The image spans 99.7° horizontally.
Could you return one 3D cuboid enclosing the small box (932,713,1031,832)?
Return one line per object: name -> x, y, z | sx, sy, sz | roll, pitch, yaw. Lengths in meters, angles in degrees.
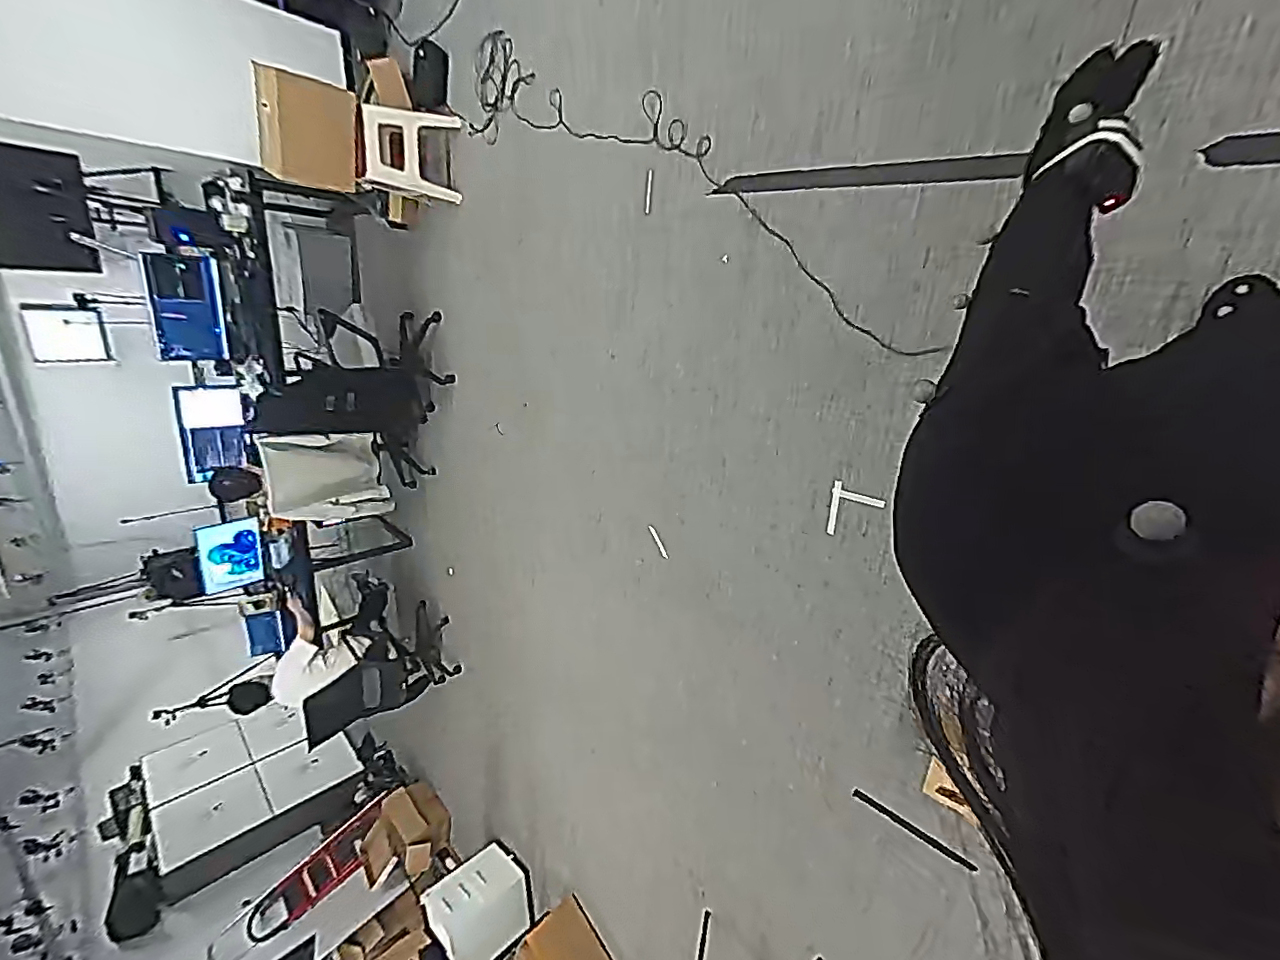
small box -> 0.898, 0.759, 1.419 | 0.168, 0.176, 0.179 | 20, 114, 41
